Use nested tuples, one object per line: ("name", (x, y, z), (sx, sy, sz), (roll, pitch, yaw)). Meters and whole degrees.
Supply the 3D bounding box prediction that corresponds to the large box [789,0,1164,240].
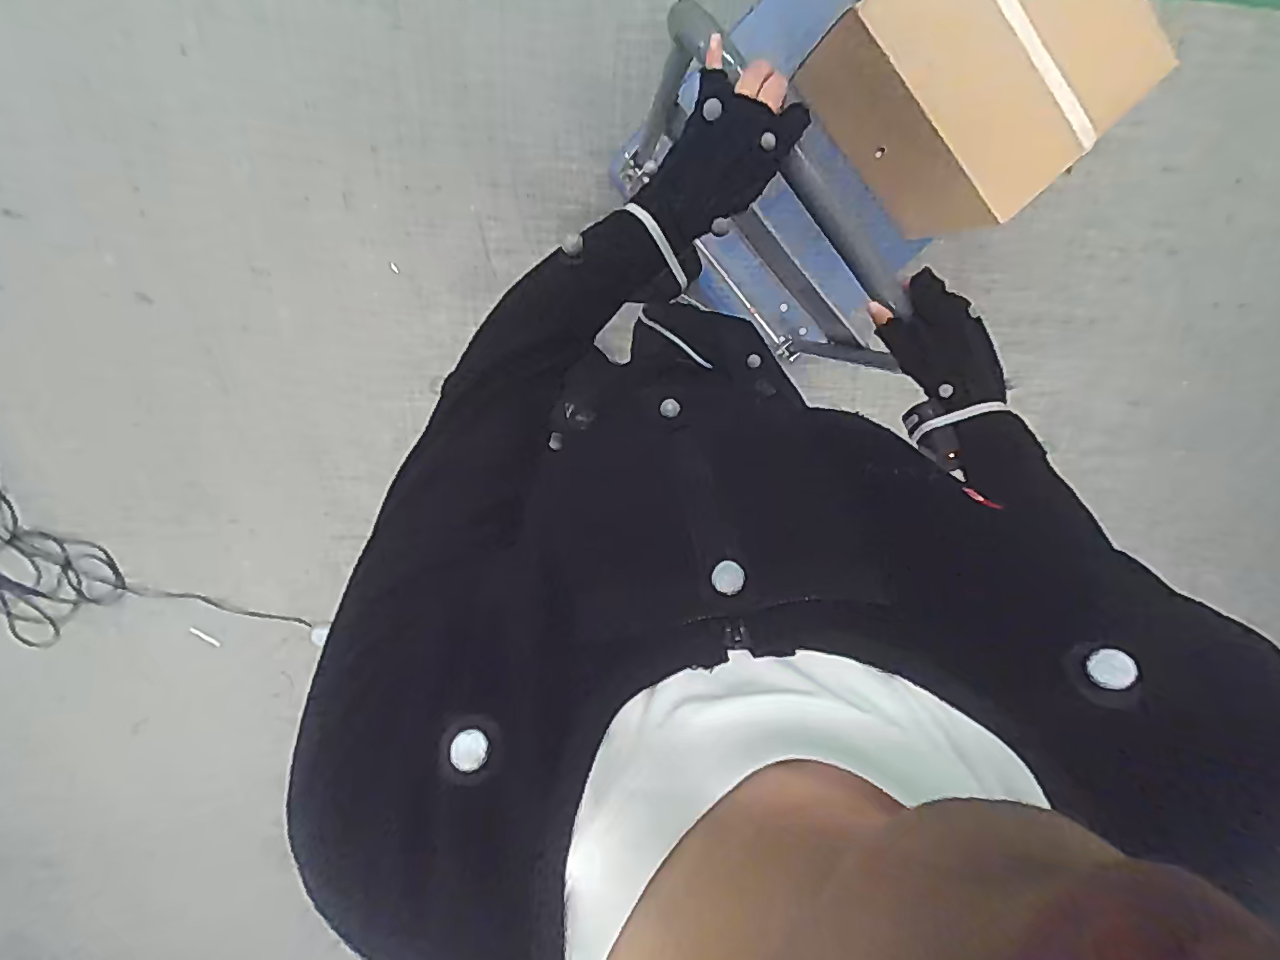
("large box", (0.533, -0.688, 0.929), (0.320, 0.320, 0.408), (-43, 104, 12))
